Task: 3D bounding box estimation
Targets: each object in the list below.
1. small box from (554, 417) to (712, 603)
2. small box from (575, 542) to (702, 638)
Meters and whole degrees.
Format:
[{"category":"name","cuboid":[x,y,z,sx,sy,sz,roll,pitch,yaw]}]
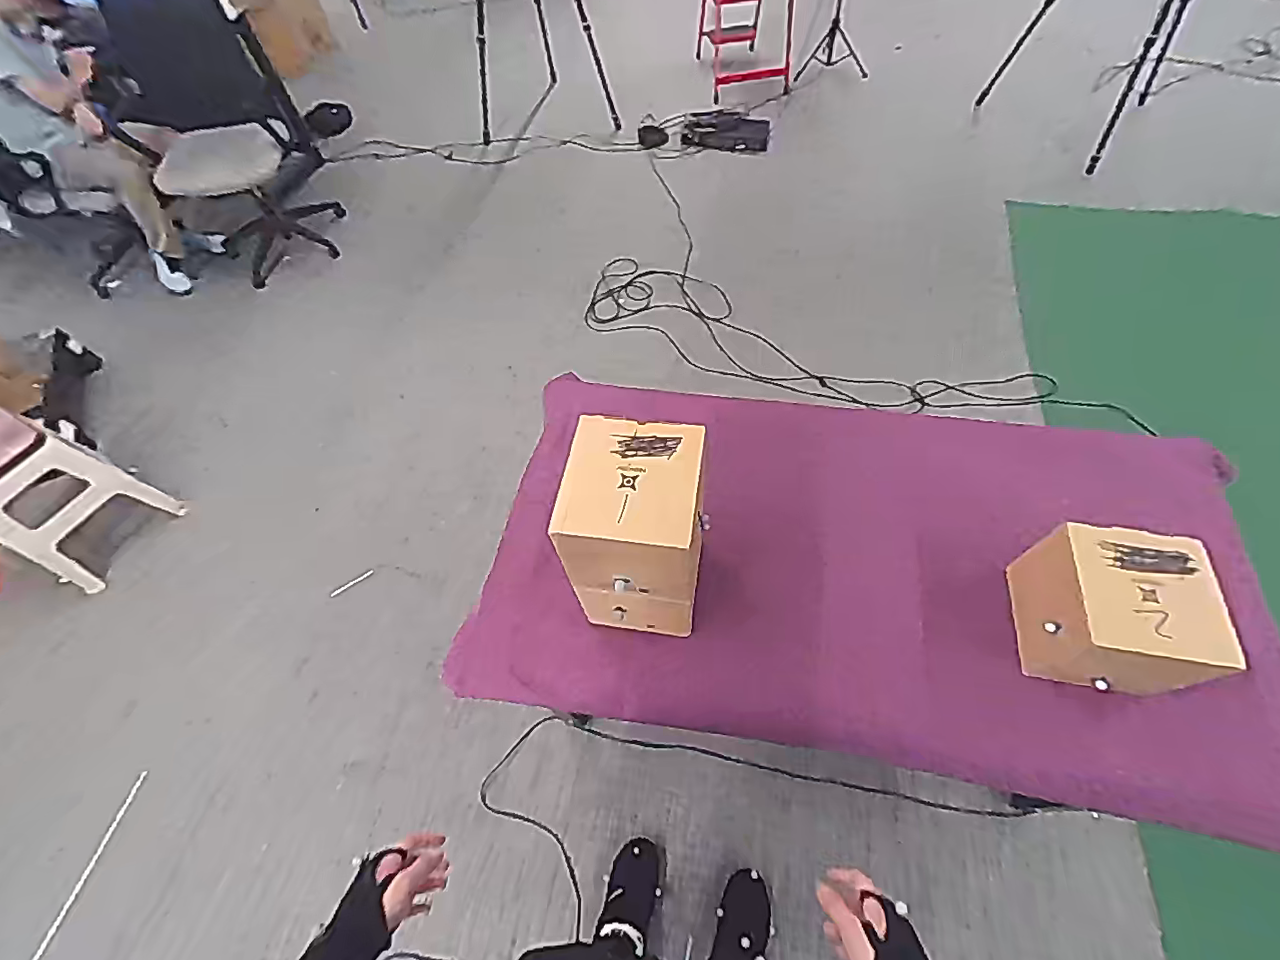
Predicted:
[{"category":"small box","cuboid":[0.000,0.042,0.715,0.168,0.176,0.179,6,58,9]},{"category":"small box","cuboid":[0.008,0.134,0.850,0.168,0.176,0.179,6,57,8]}]
